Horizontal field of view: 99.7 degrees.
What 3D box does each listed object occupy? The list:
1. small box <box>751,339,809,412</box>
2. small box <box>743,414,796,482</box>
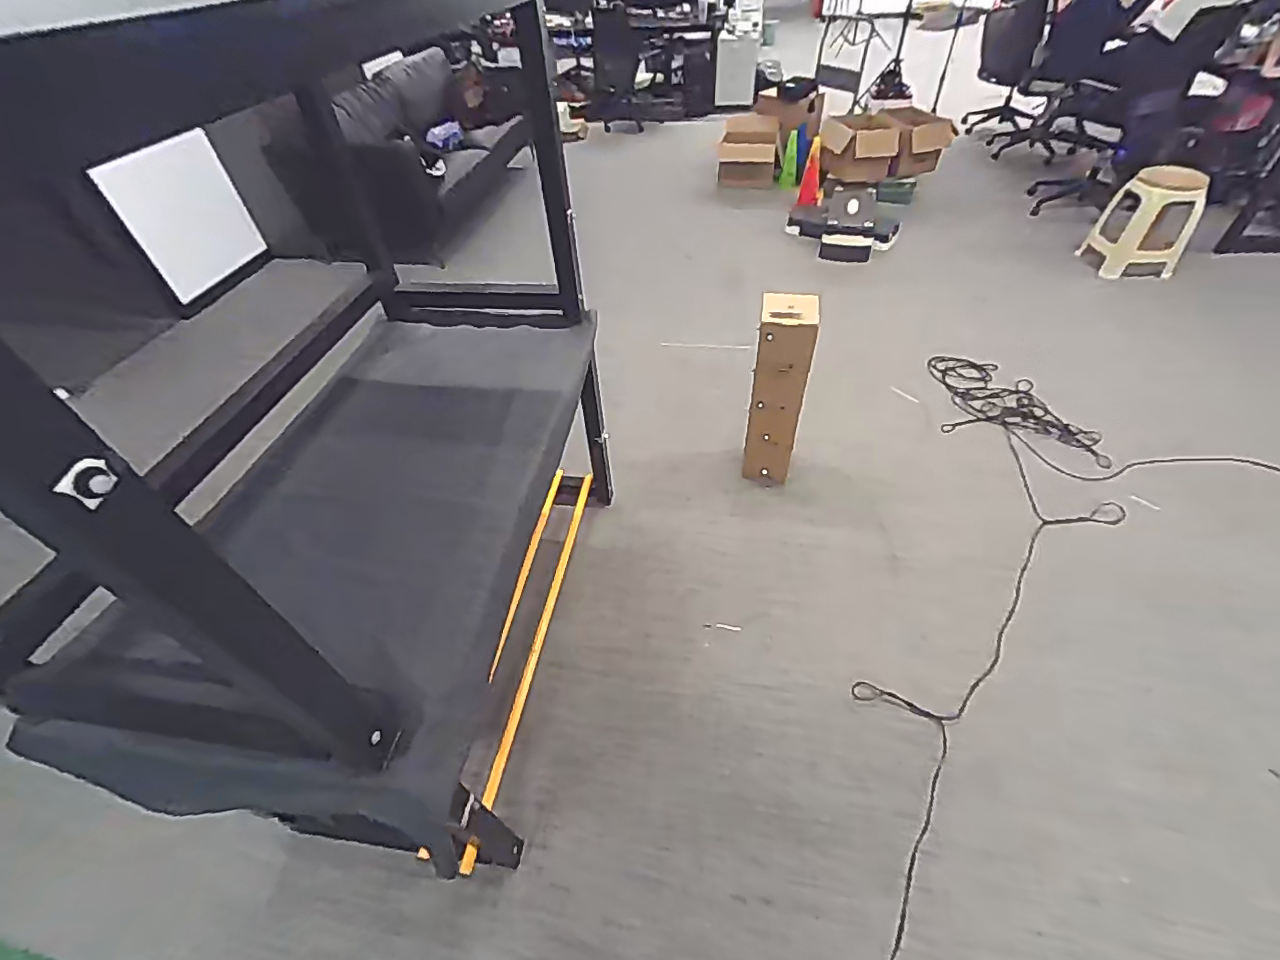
[{"bbox_3d":[0.463,-0.346,1.796,0.168,0.176,0.179,7,47,11],"label":"small box"},{"bbox_3d":[0.484,-0.120,2.031,0.168,0.176,0.179,8,48,13],"label":"small box"}]
